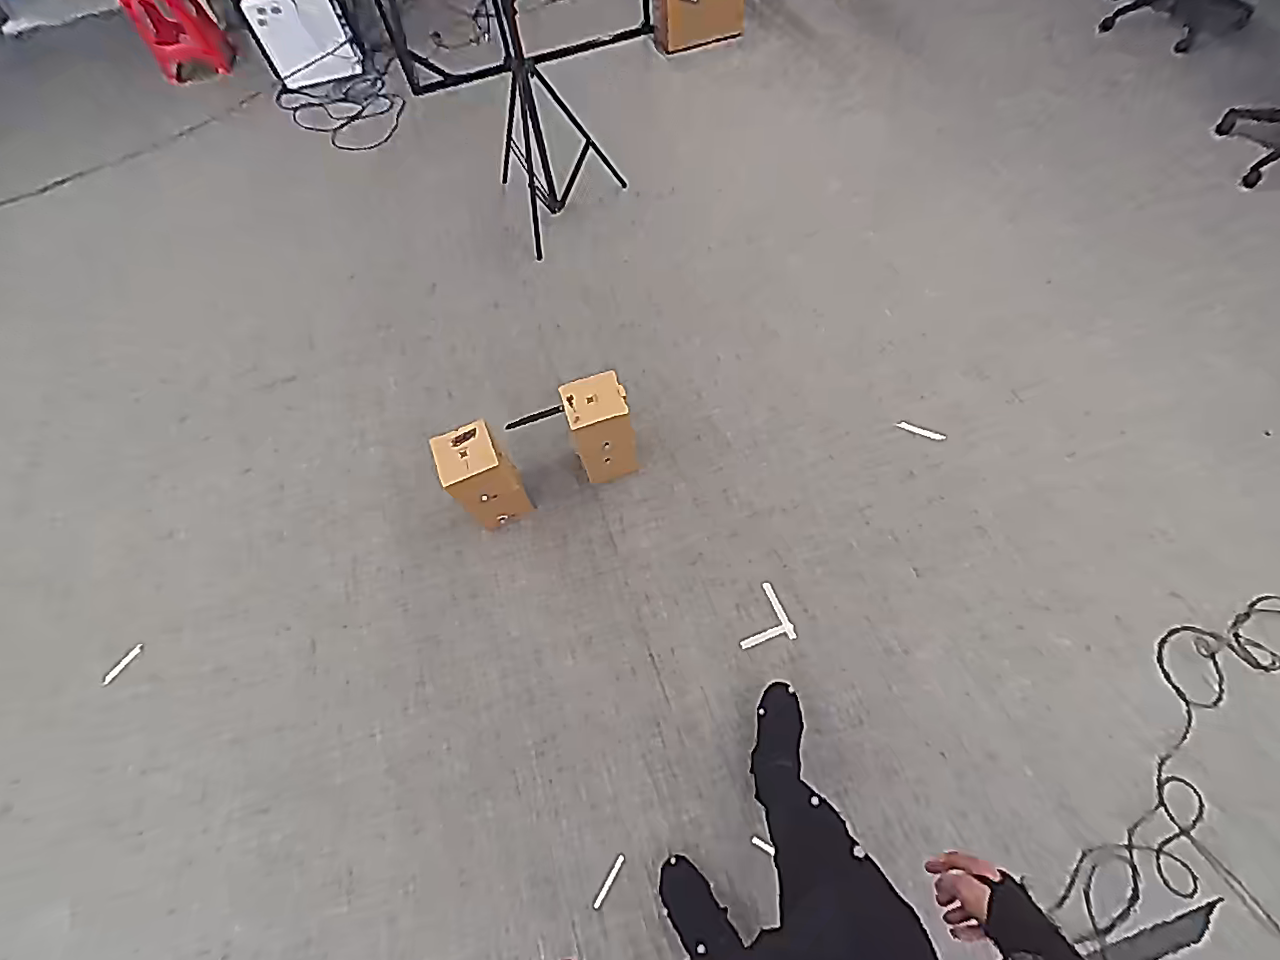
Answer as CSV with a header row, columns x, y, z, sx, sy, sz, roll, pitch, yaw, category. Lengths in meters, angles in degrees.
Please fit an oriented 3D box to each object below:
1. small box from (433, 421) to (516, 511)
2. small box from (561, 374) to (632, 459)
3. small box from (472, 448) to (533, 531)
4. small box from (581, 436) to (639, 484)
x,y,z,sx,sy,sz,roll,pitch,yaw,category
-0.483,-0.037,1.587,0.168,0.176,0.179,-23,63,-6,small box
-0.125,-0.187,1.631,0.179,0.176,0.168,-16,61,-4,small box
-0.463,0.033,1.734,0.168,0.176,0.179,-24,63,-7,small box
-0.111,-0.109,1.775,0.179,0.176,0.168,-17,62,-5,small box
